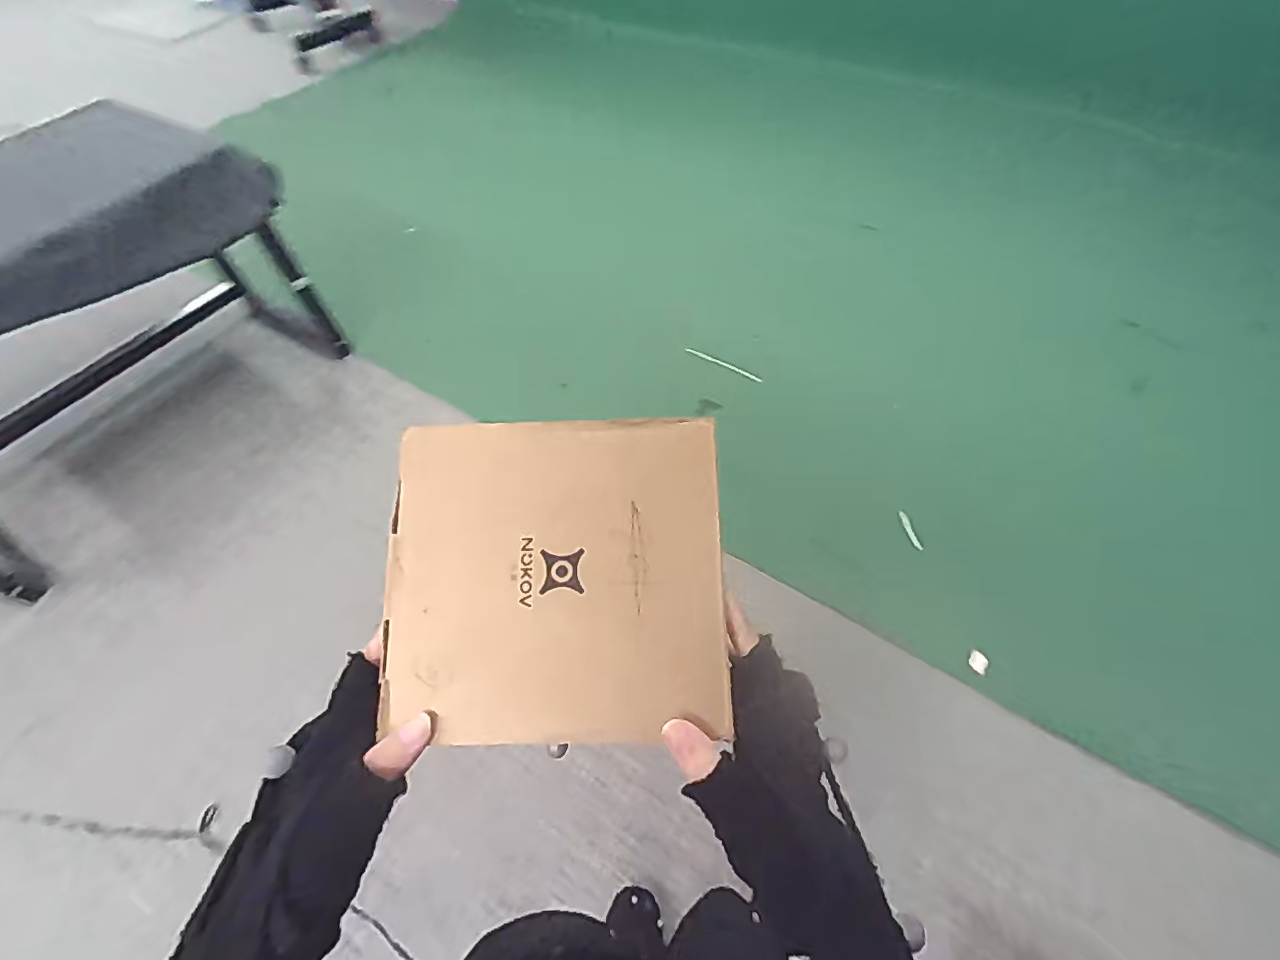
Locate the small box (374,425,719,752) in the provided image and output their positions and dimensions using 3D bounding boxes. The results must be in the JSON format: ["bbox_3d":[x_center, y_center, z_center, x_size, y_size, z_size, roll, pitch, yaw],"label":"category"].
[{"bbox_3d":[-0.050,0.070,0.364,0.179,0.176,0.168,-3,78,-1],"label":"small box"}]
